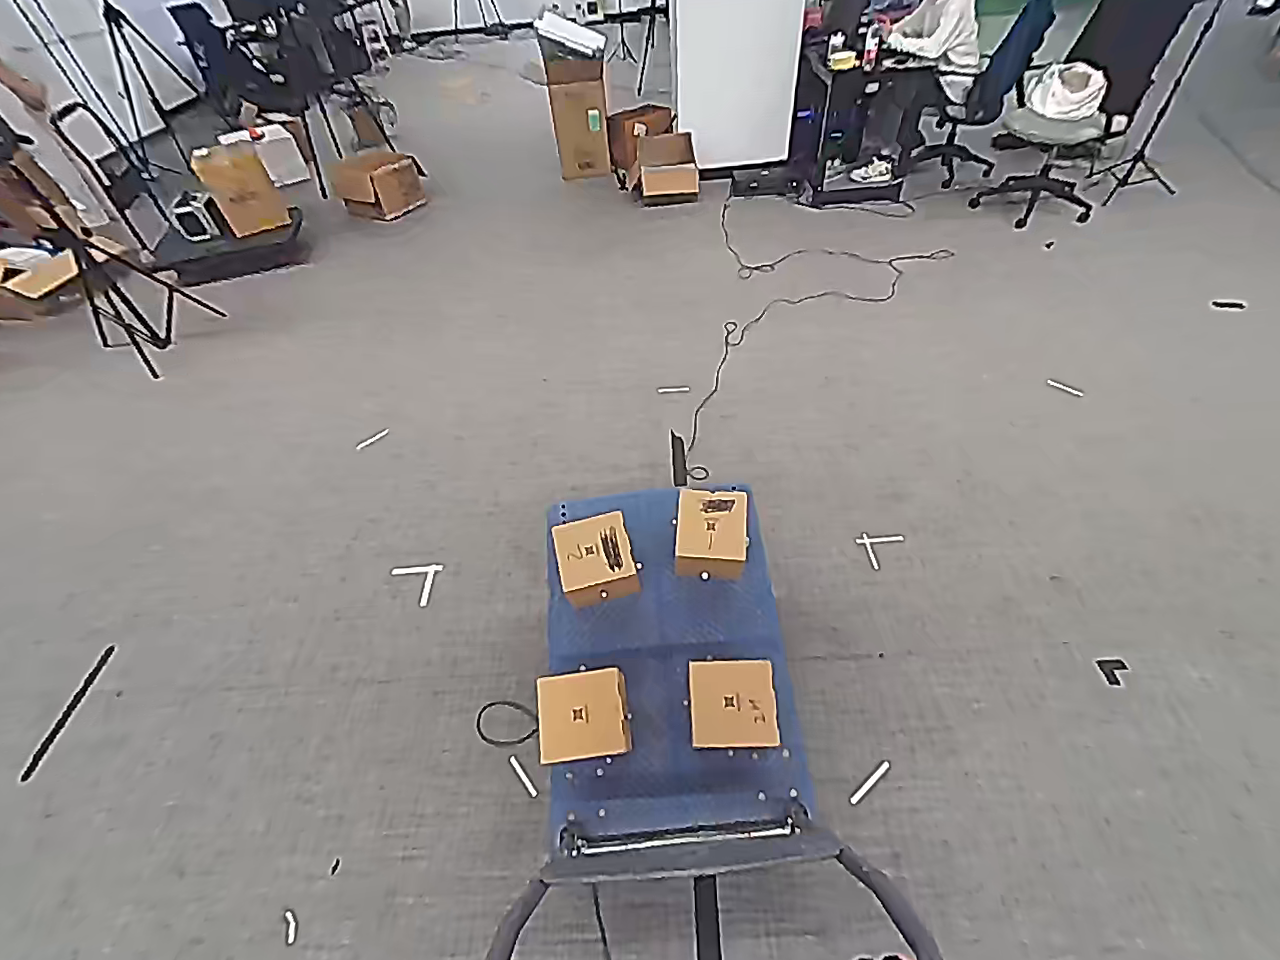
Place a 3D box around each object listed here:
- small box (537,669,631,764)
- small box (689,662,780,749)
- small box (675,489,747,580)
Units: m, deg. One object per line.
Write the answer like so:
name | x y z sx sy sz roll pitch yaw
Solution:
small box | -0.119 0.522 1.188 0.179 0.176 0.168 -8 64 -2
small box | 0.197 0.494 1.180 0.179 0.176 0.168 -2 64 3
small box | 0.175 0.140 1.355 0.168 0.176 0.179 3 65 5
